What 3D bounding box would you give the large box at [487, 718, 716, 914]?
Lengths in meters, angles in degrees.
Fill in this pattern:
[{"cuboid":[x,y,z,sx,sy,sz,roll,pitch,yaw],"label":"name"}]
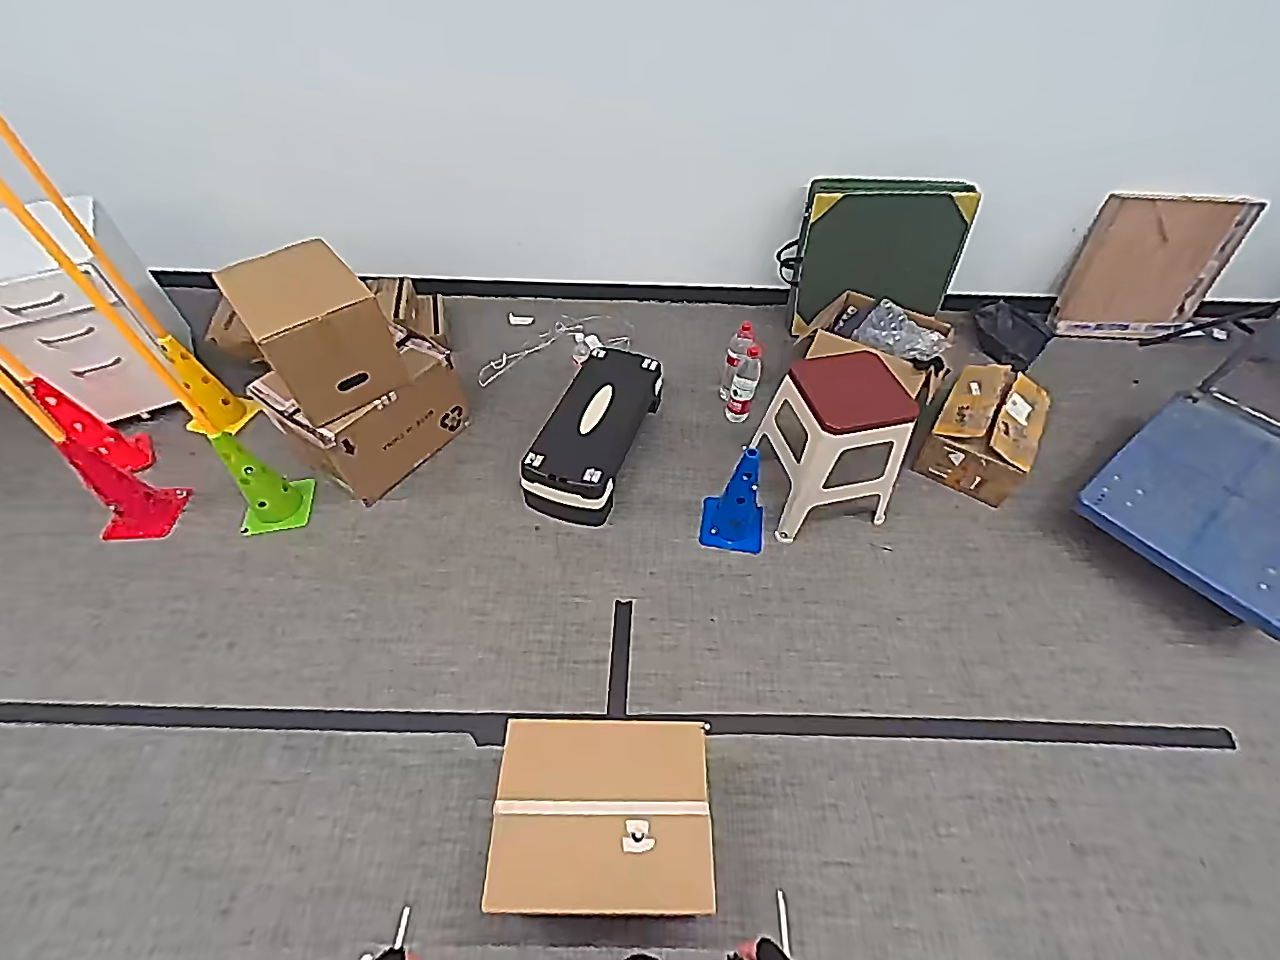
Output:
[{"cuboid":[-0.075,0.709,1.134,0.408,0.320,0.320,2,51,-2],"label":"large box"}]
